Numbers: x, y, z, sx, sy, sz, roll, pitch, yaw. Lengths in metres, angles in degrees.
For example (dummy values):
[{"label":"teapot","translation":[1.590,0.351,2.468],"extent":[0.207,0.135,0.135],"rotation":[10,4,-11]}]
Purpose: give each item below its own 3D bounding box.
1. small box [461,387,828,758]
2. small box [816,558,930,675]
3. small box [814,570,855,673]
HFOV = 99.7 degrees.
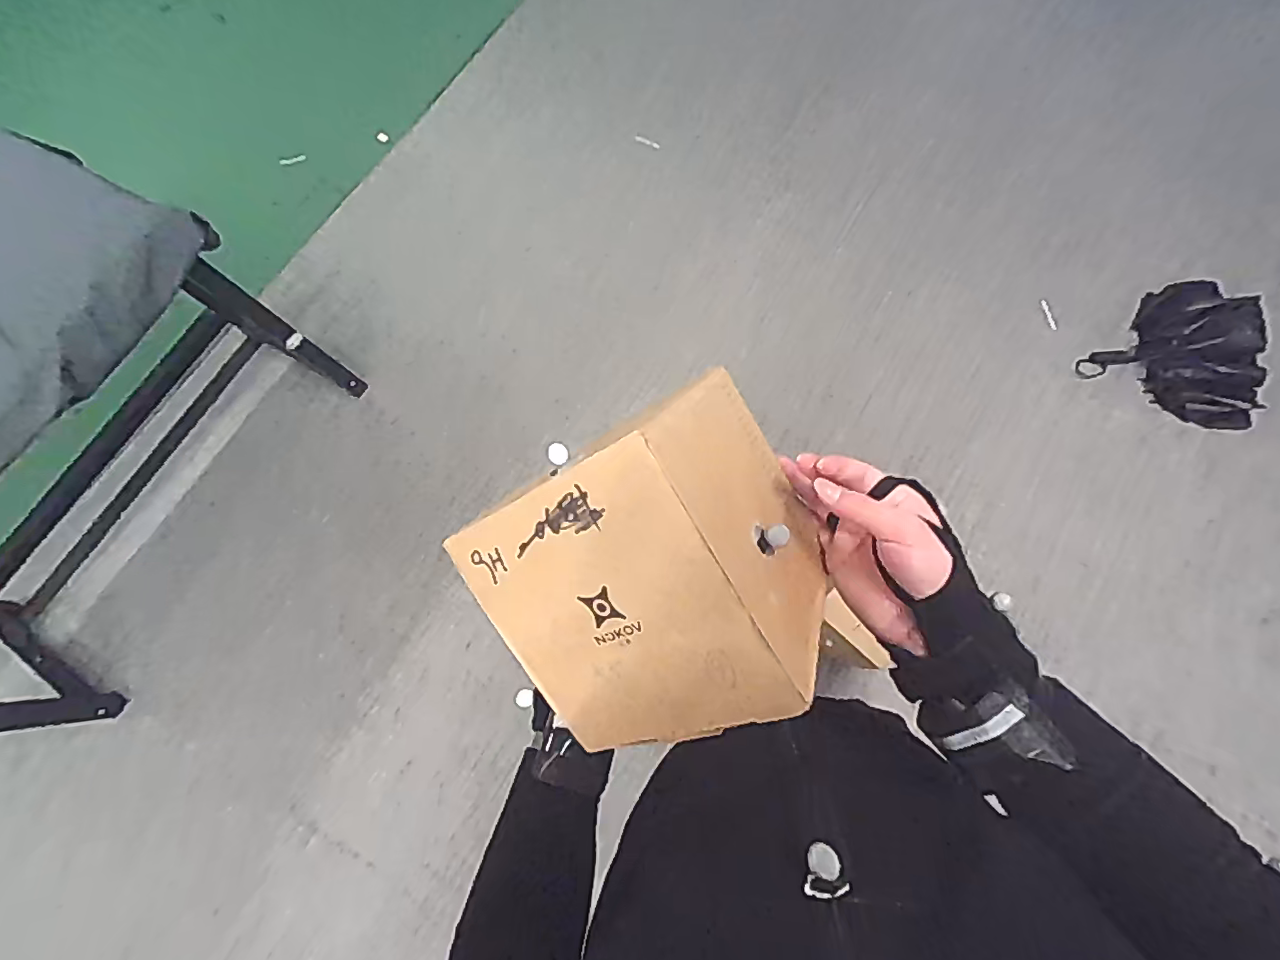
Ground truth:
[{"label":"small box","translation":[0.020,0.059,0.387],"extent":[0.168,0.176,0.179],"rotation":[-27,100,30]},{"label":"small box","translation":[0.478,0.298,1.172],"extent":[0.179,0.176,0.168],"rotation":[-44,72,-8]},{"label":"small box","translation":[0.495,0.347,1.328],"extent":[0.168,0.176,0.179],"rotation":[41,82,18]}]
